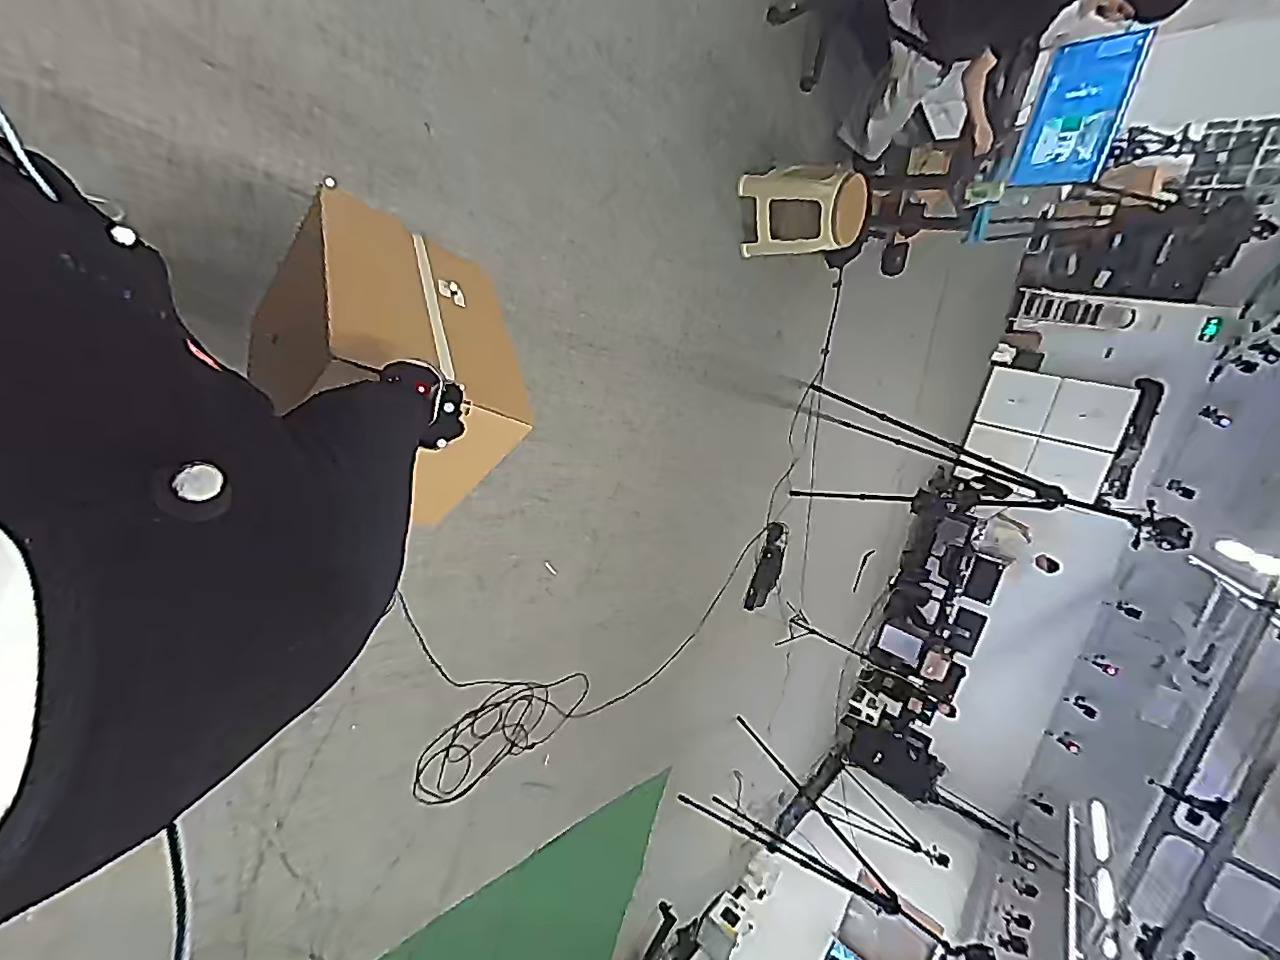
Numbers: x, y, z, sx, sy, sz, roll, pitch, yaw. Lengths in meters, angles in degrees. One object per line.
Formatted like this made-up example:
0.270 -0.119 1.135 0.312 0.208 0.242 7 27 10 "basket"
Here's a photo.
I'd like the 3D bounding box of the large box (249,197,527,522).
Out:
-0.452 -0.183 0.943 0.320 0.408 0.320 -40 145 25 "large box"
